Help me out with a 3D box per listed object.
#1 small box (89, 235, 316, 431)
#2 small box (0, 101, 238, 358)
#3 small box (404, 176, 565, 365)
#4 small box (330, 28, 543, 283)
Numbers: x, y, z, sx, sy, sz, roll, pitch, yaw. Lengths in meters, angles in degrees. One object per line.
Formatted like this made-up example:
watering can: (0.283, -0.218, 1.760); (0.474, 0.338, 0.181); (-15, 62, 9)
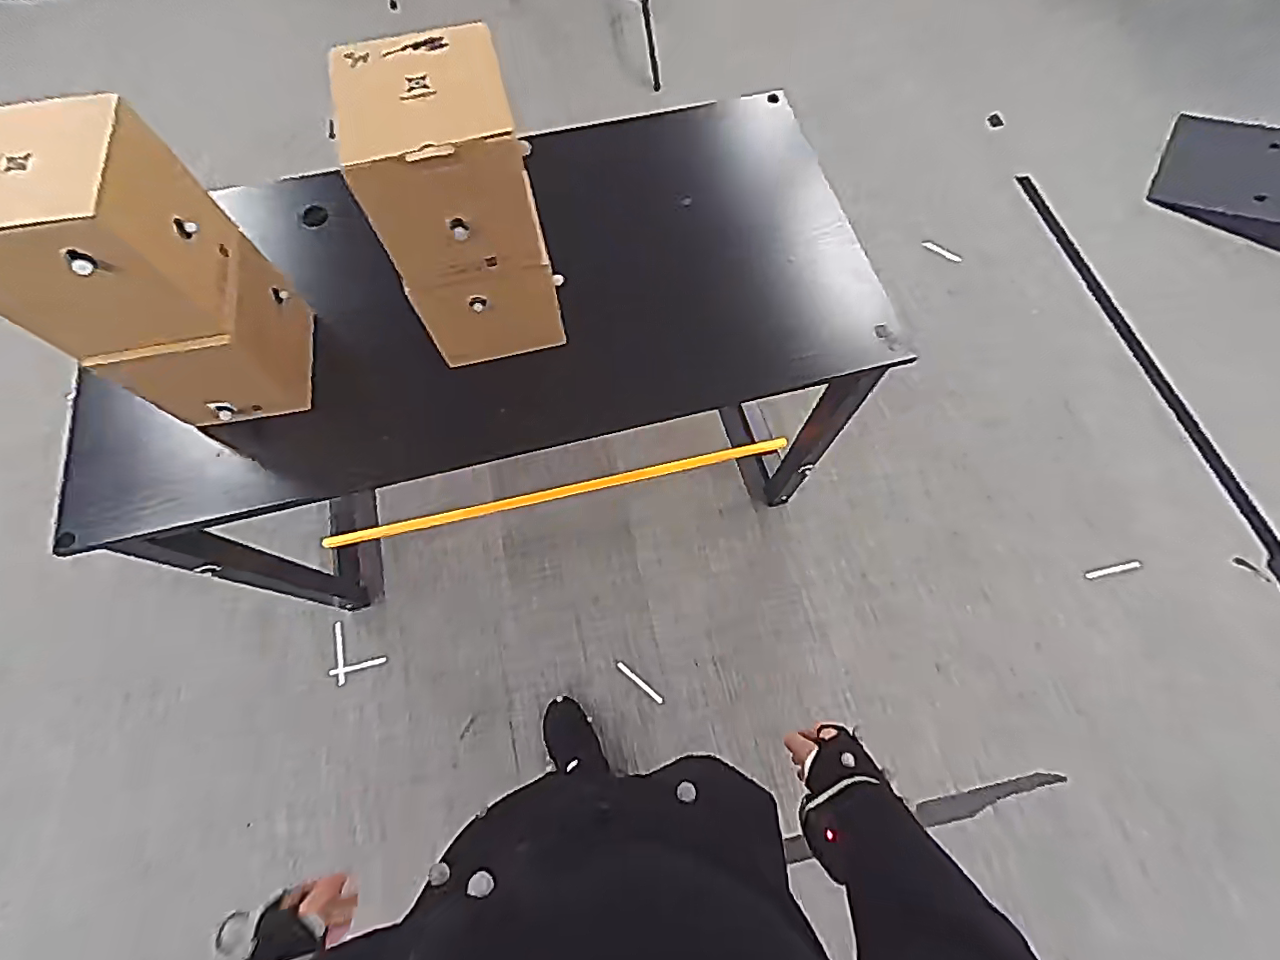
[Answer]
small box: (-0.562, -0.188, 0.723); (0.168, 0.176, 0.179); (-11, 70, -3)
small box: (-0.570, -0.252, 0.571); (0.179, 0.176, 0.168); (-11, 69, -3)
small box: (-0.213, -0.282, 0.755); (0.179, 0.176, 0.168); (-13, 70, -5)
small box: (-0.215, -0.345, 0.603); (0.168, 0.176, 0.179); (-14, 70, -5)
